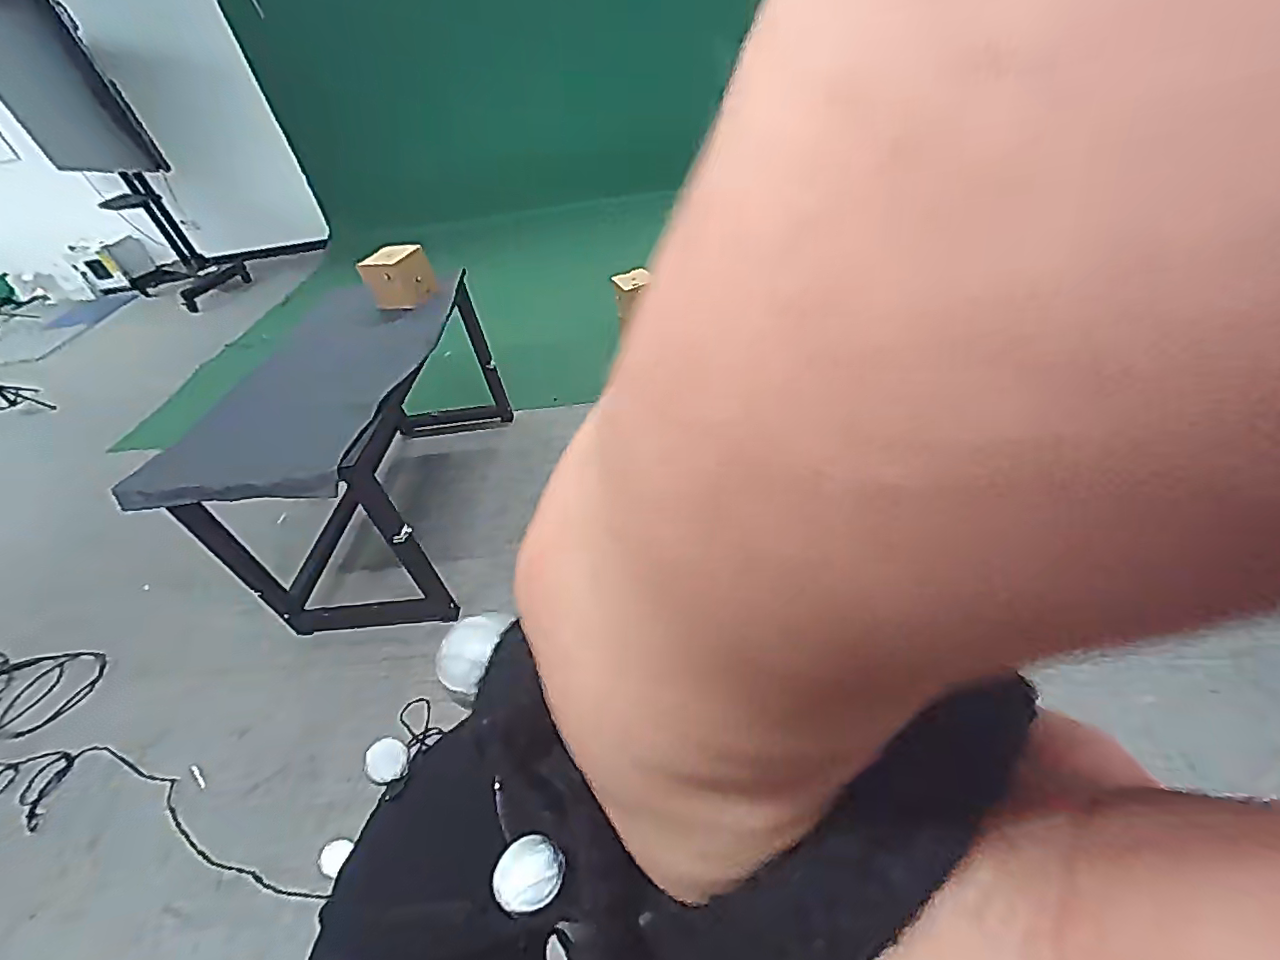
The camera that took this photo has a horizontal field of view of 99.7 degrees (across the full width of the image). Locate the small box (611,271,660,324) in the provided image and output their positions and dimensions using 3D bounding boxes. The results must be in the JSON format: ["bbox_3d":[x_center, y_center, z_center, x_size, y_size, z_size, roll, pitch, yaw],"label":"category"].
[{"bbox_3d":[-0.018,-0.857,2.545,0.168,0.176,0.179,-23,44,-12],"label":"small box"}]

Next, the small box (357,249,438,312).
[{"bbox_3d":[-0.883,-0.730,1.988,0.179,0.176,0.168,7,45,22],"label":"small box"}]
